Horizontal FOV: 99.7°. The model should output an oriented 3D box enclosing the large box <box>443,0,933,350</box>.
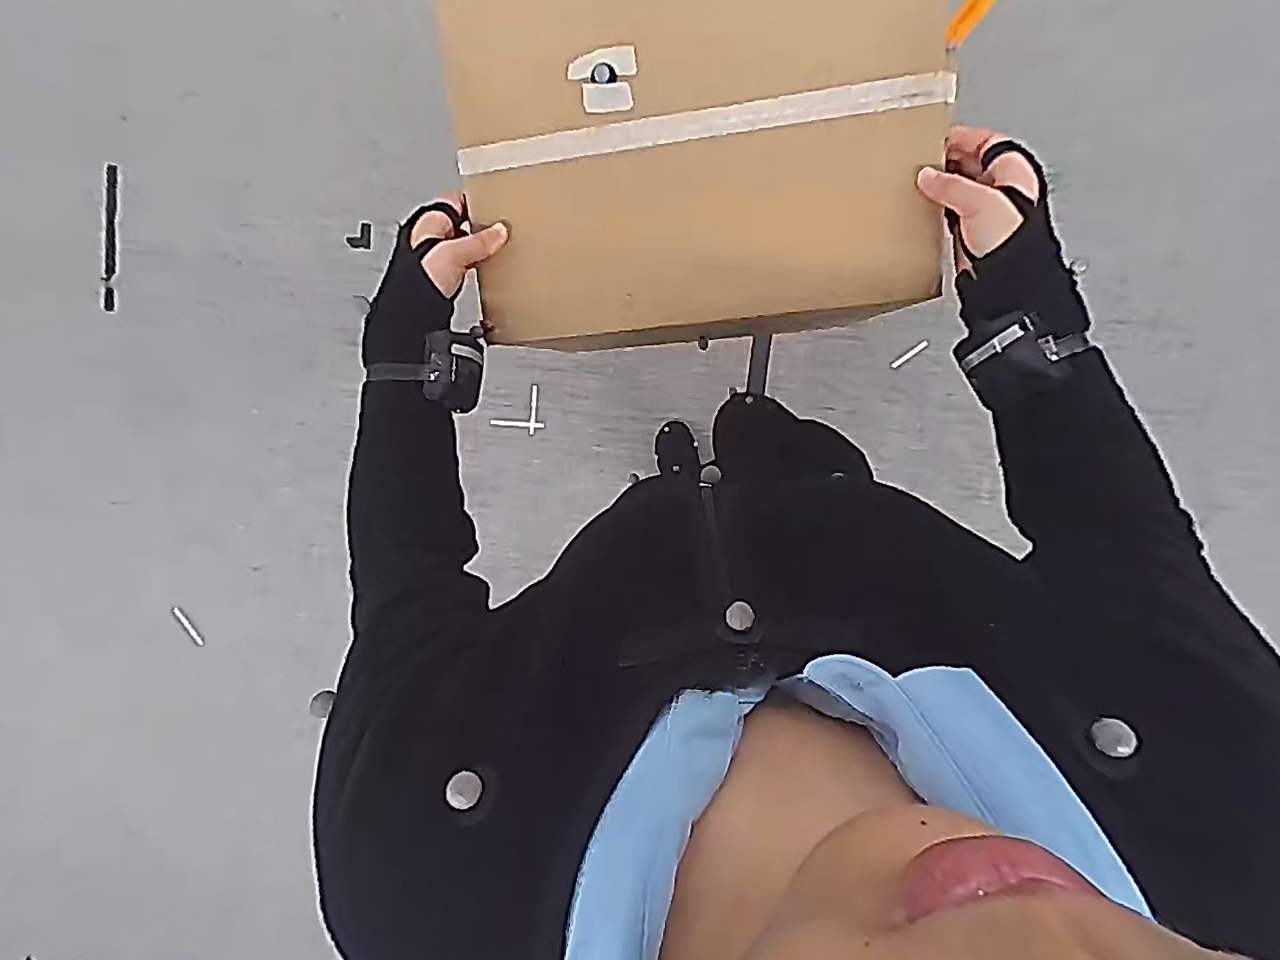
[{"bbox_3d":[0.060,-0.329,0.609,0.408,0.320,0.320,-5,100,8],"label":"large box"}]
